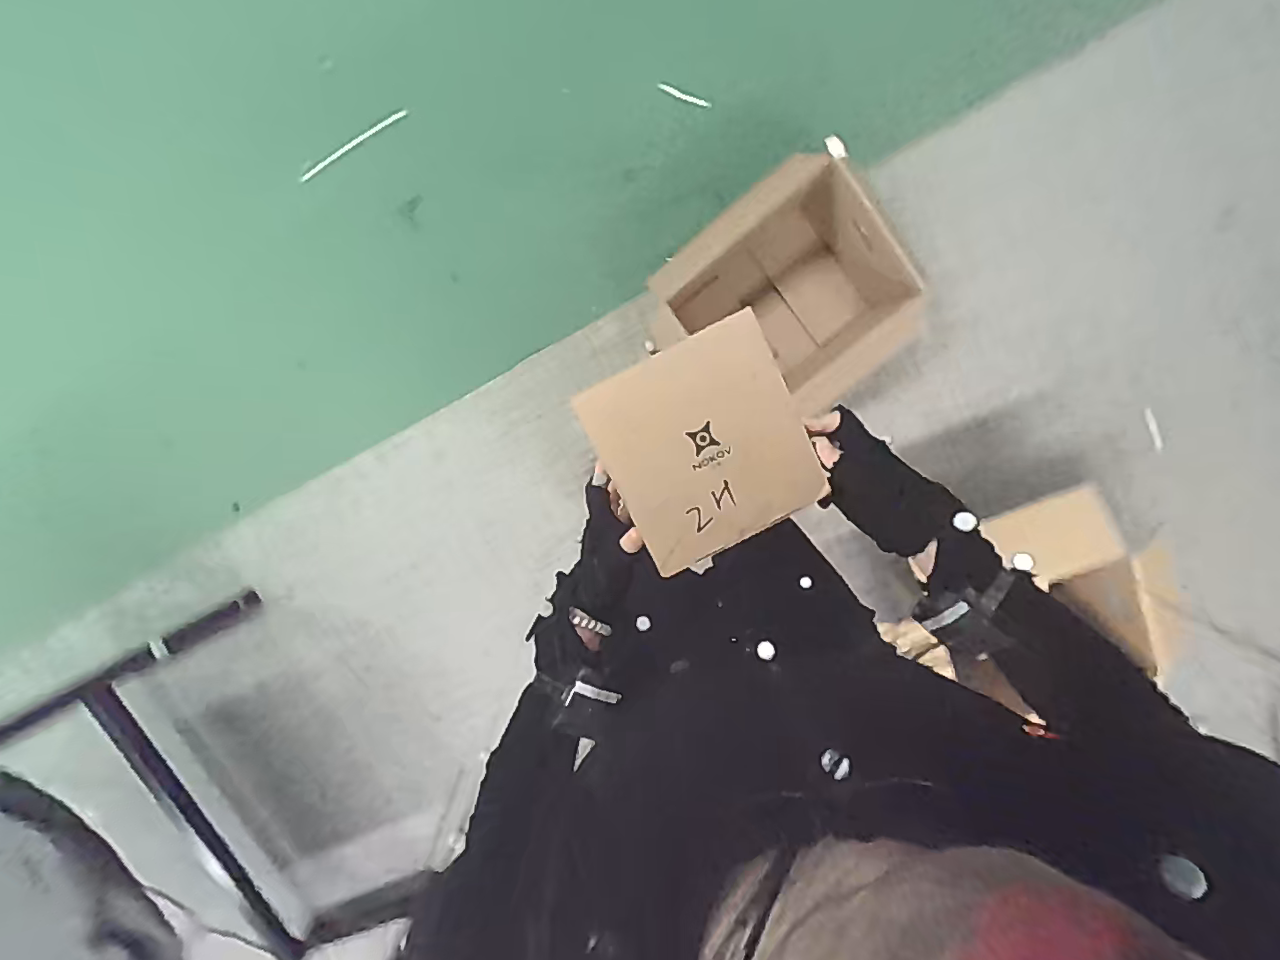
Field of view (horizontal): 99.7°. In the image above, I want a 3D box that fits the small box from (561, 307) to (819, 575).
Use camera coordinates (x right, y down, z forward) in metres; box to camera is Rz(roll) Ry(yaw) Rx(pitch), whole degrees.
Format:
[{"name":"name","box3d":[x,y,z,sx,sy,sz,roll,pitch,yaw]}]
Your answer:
[{"name":"small box","box3d":[0.037,-0.041,0.524,0.168,0.176,0.179,-27,101,1]}]
